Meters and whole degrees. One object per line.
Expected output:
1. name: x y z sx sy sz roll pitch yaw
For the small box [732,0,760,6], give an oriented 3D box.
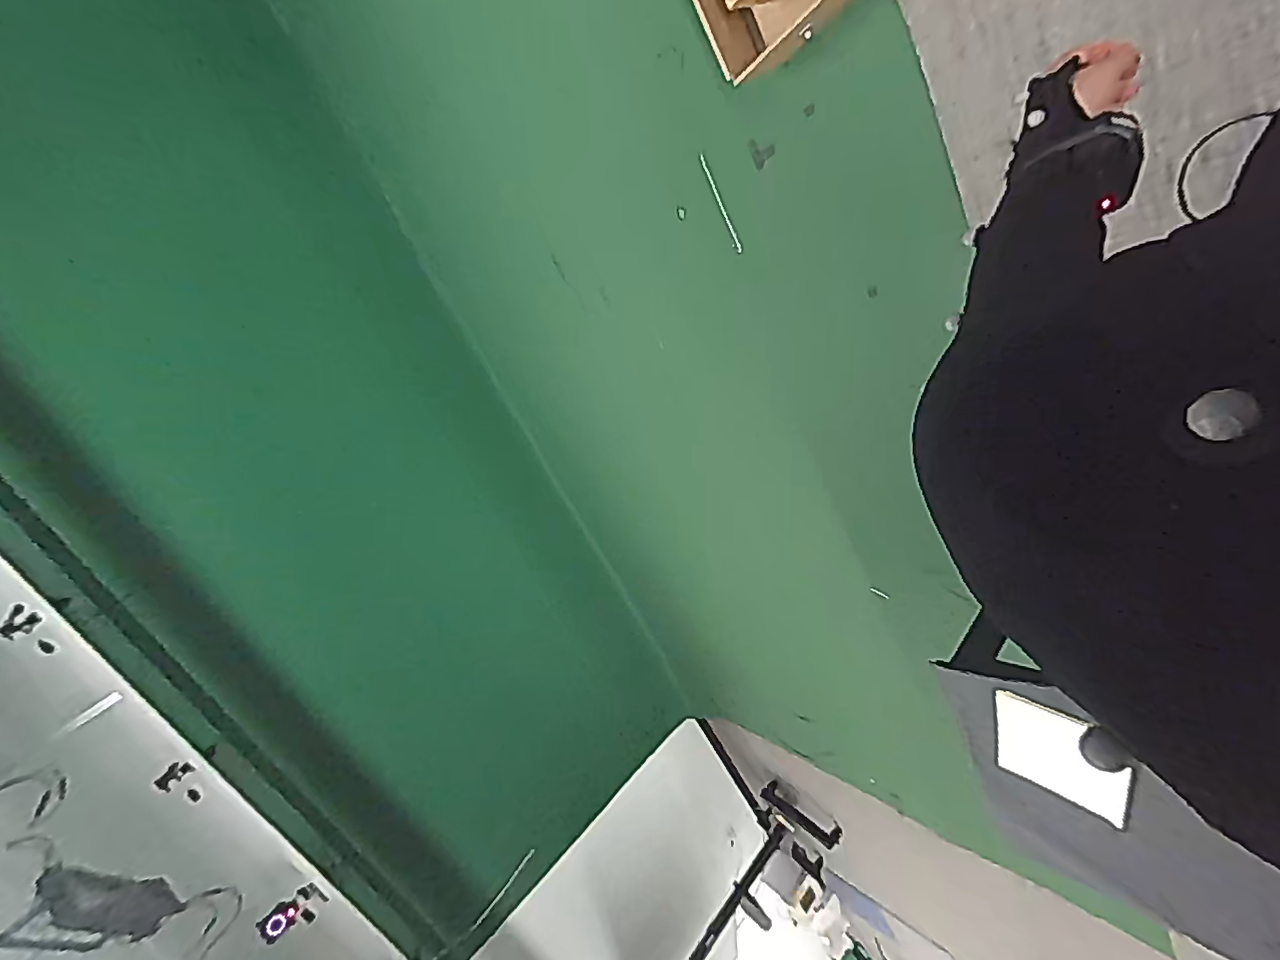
1. small box: 0.279 -1.154 1.137 0.179 0.176 0.168 -4 118 57
